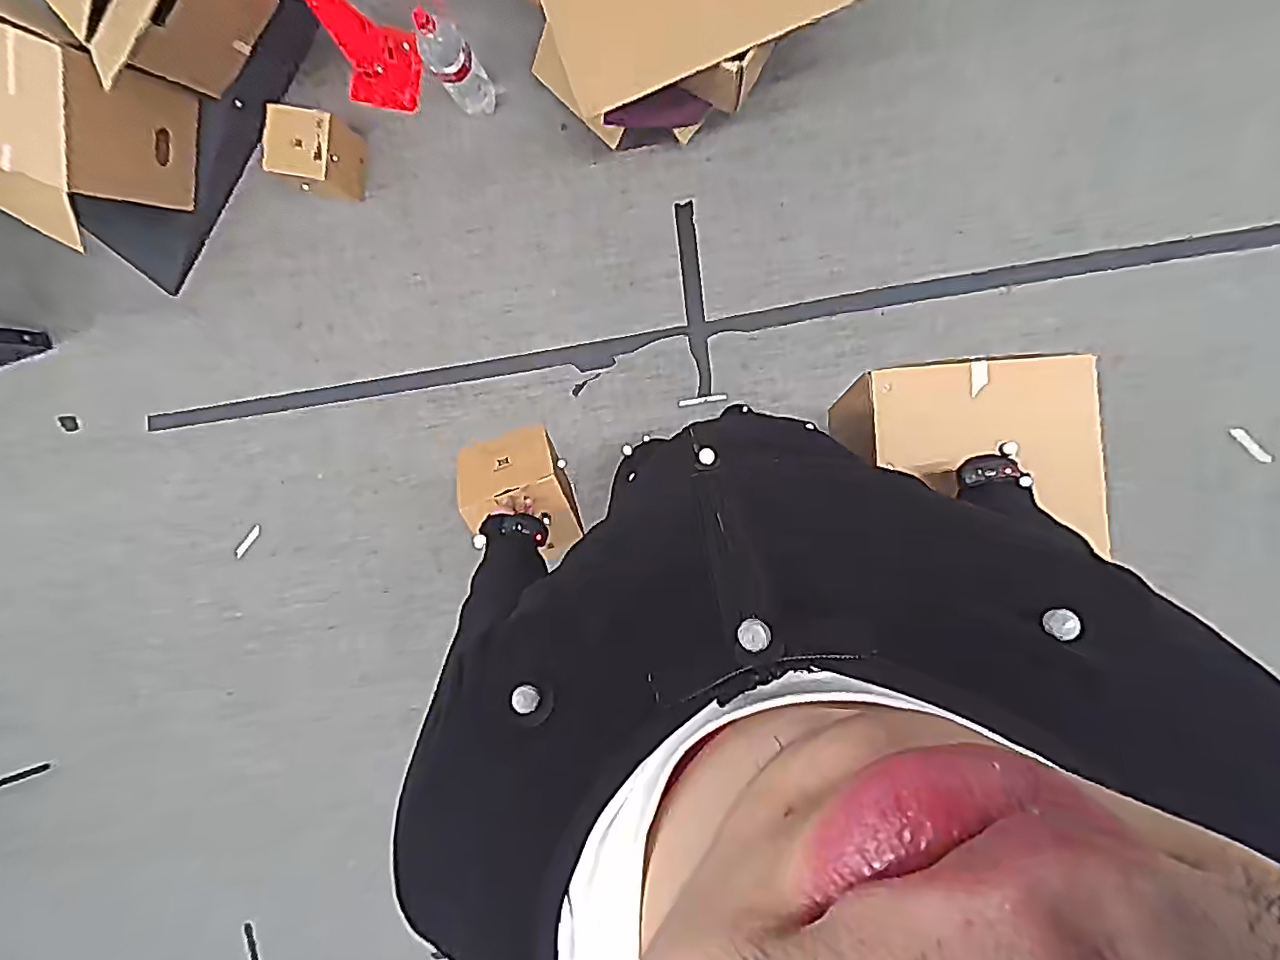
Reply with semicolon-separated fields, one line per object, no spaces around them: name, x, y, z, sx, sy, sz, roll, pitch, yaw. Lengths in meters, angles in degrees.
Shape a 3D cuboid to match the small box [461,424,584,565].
small box;-0.213;0.032;0.988;0.168;0.179;0.176;-20;128;-3
